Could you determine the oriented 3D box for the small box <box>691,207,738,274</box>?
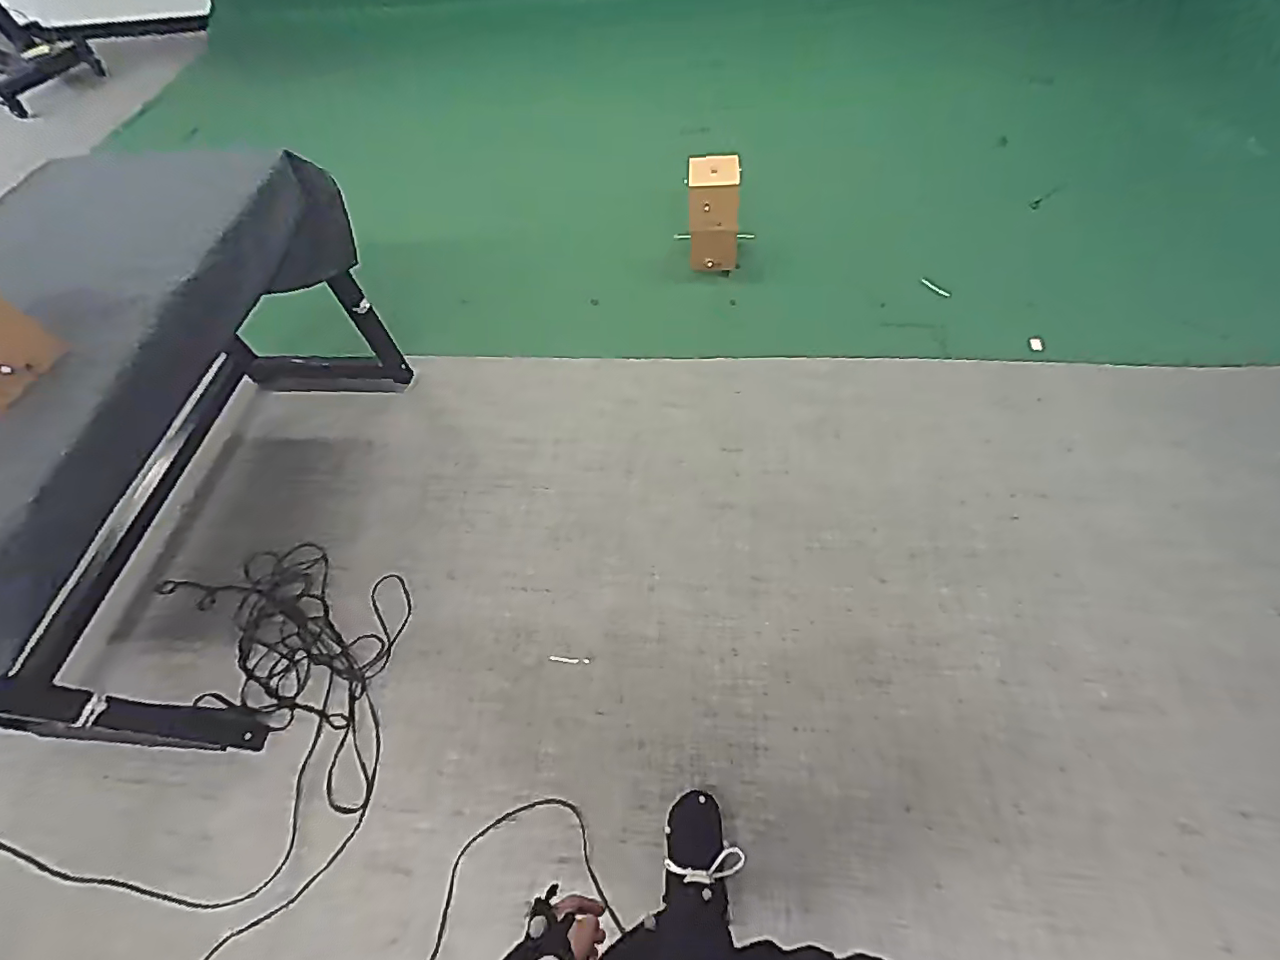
[{"bbox_3d":[0.272,-0.888,1.996,0.168,0.176,0.179,1,59,7],"label":"small box"}]

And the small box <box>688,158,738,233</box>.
[{"bbox_3d":[0.250,-0.970,1.857,0.168,0.176,0.179,0,57,6],"label":"small box"}]
